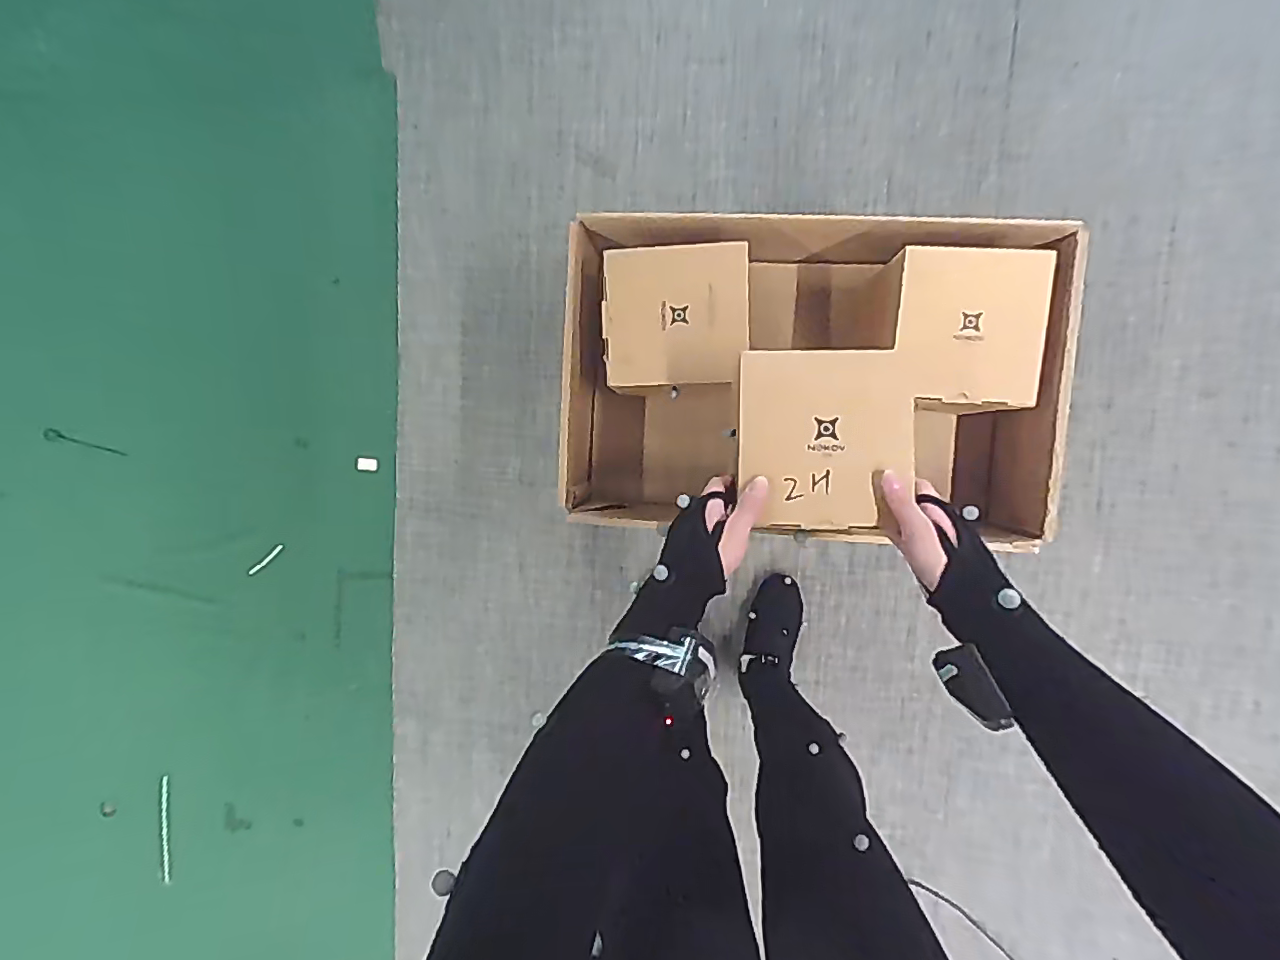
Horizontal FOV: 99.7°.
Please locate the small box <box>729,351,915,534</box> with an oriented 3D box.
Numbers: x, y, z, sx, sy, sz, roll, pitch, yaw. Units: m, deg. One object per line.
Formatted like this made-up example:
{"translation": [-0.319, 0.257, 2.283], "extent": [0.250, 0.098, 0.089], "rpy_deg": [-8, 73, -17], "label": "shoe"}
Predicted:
{"translation": [0.187, -0.031, 0.600], "extent": [0.168, 0.176, 0.179], "rpy_deg": [2, 85, 6], "label": "small box"}
